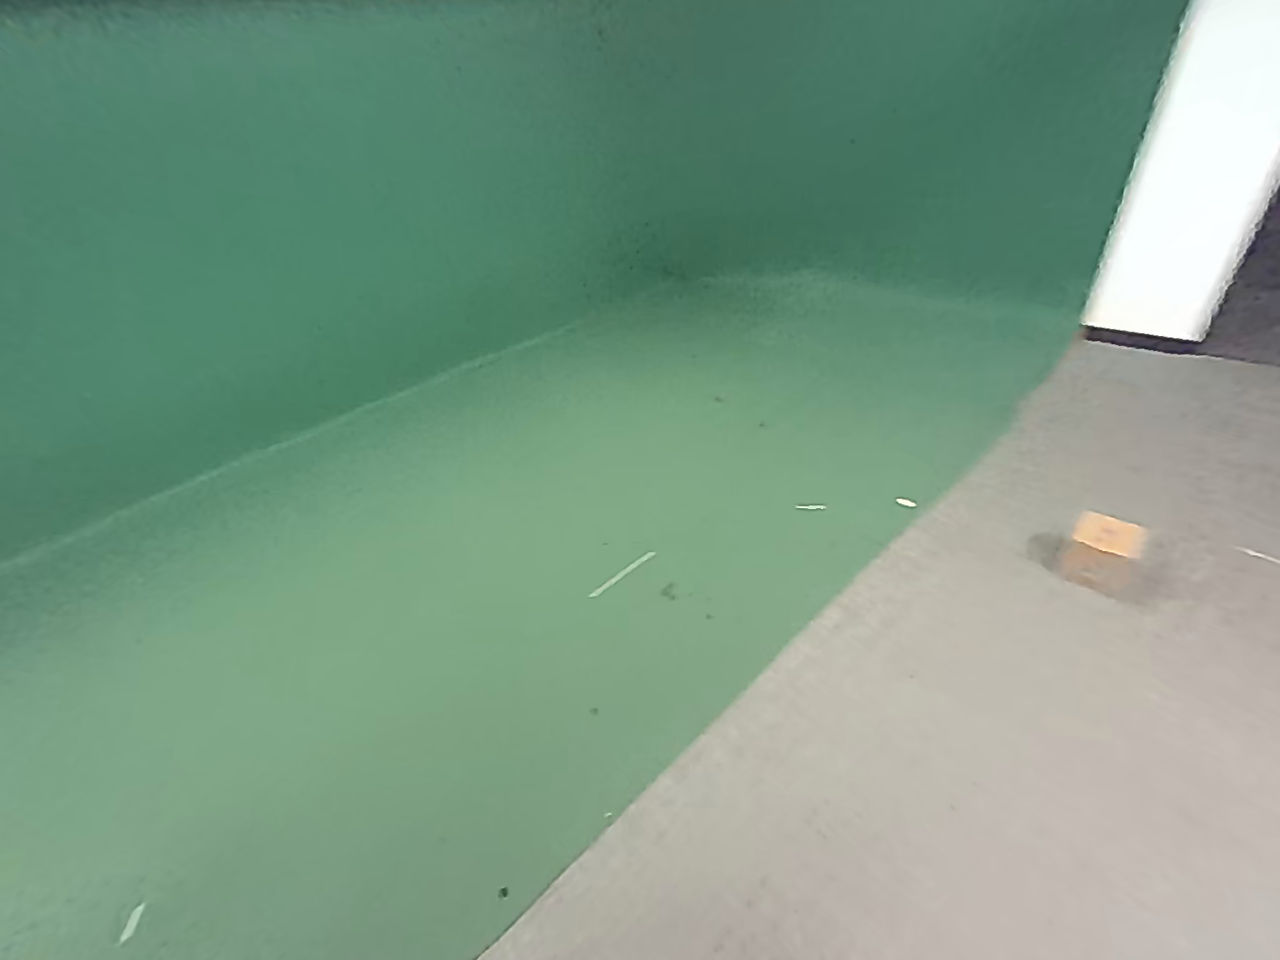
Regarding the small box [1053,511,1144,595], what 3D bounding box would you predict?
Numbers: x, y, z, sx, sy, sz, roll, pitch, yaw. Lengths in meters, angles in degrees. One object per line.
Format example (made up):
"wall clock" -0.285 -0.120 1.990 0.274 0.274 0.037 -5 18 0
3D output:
"small box" 1.478 0.236 1.749 0.168 0.176 0.179 25 49 39
